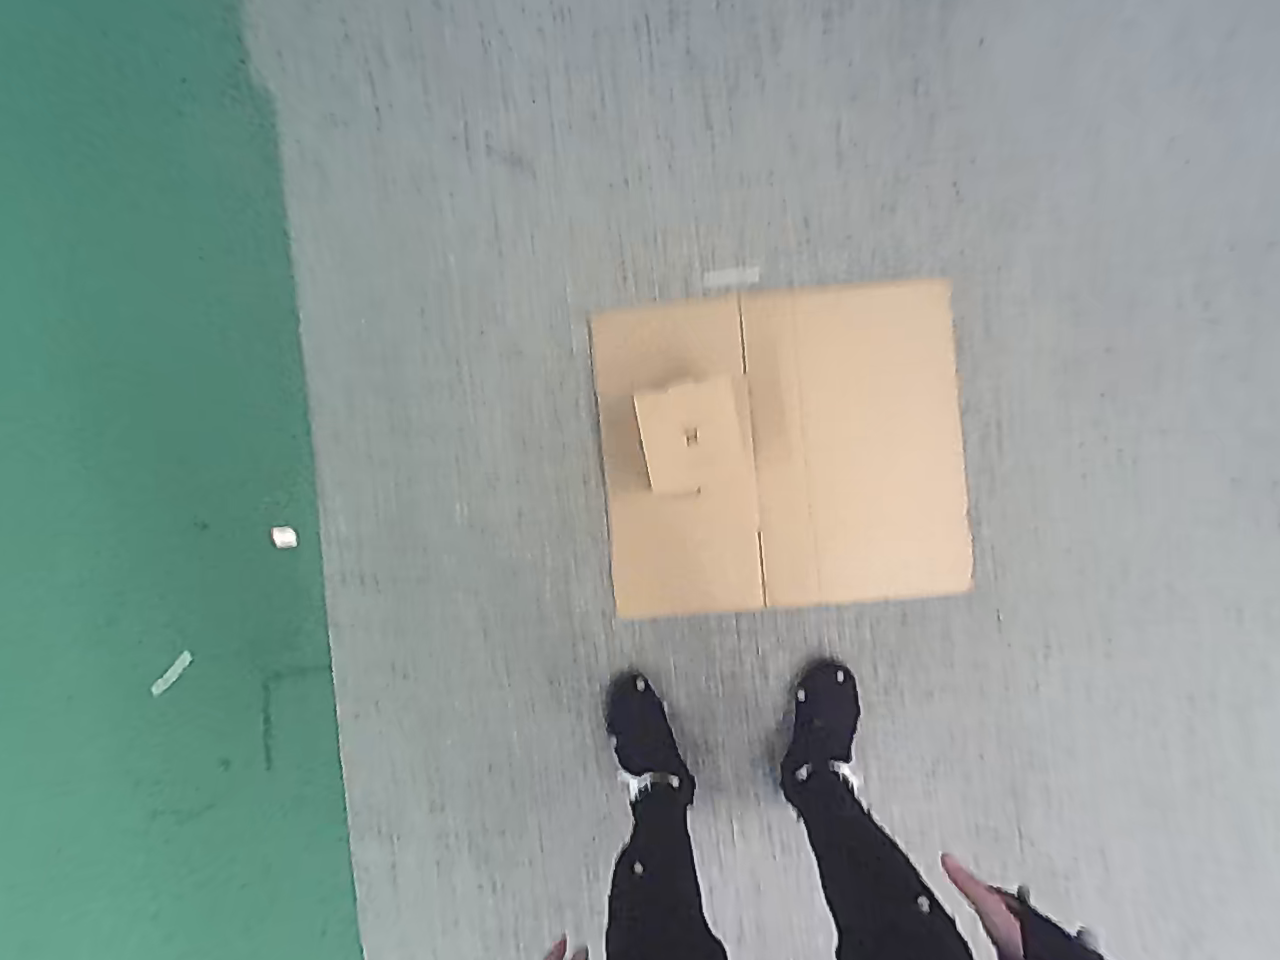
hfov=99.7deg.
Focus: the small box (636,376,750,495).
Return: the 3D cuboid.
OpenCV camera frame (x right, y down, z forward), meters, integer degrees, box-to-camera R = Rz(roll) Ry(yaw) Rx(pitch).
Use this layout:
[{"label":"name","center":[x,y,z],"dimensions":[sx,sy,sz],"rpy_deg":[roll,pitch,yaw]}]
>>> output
[{"label":"small box","center":[0.090,-0.074,0.977],"dimensions":[0.168,0.176,0.179],"rpy_deg":[-11,90,3]}]
